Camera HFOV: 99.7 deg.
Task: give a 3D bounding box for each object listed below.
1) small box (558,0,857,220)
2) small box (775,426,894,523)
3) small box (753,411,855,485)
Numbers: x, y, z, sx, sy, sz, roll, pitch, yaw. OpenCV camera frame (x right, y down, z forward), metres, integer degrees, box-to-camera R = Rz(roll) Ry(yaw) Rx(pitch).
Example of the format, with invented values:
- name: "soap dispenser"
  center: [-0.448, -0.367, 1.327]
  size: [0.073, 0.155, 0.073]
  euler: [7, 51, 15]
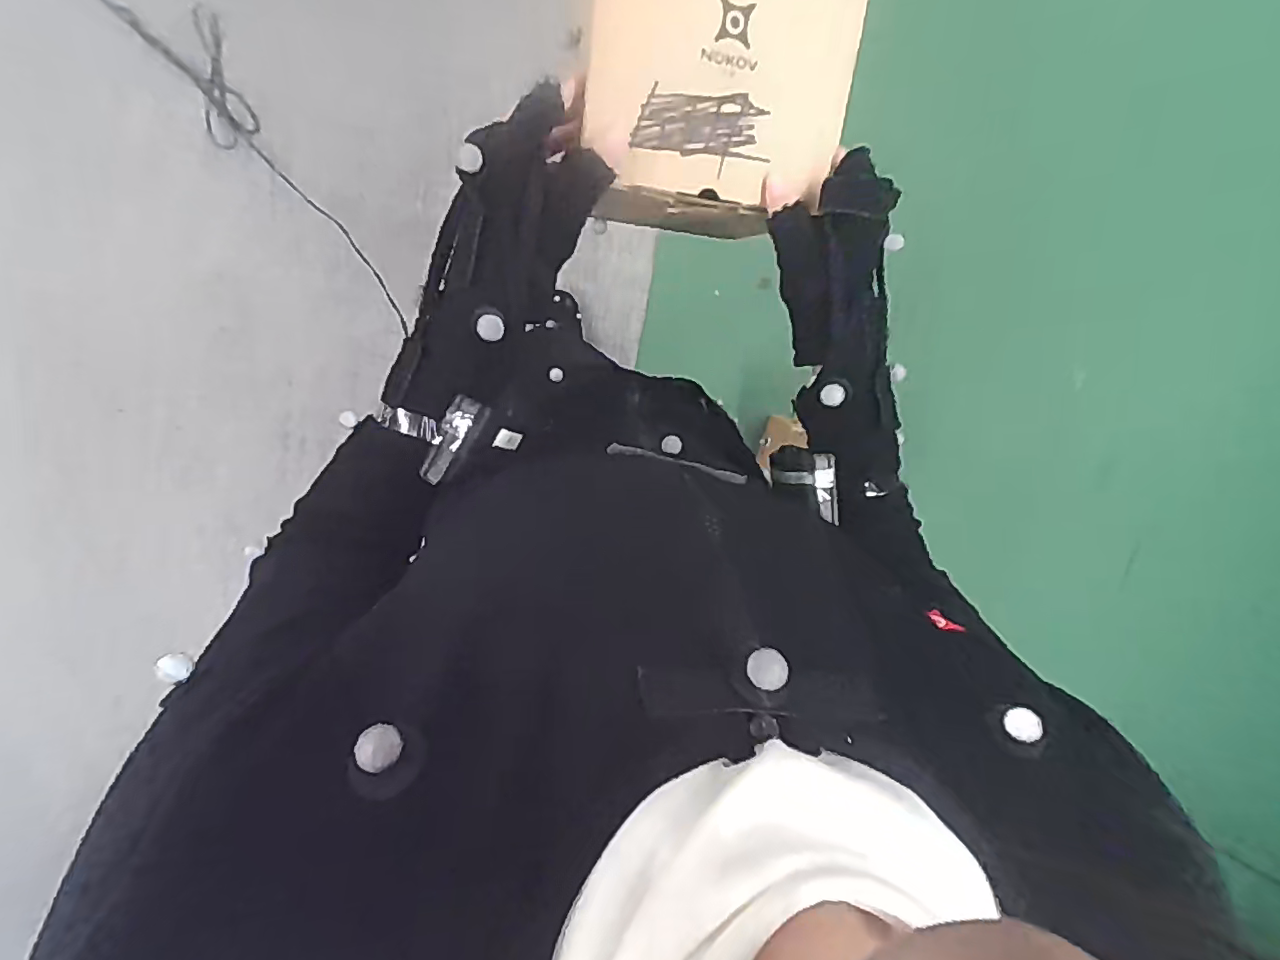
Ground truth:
- name: "small box"
  center: [0.032, -0.296, 0.387]
  size: [0.168, 0.176, 0.179]
  euler: [2, 109, -13]
- name: "small box"
  center: [0.445, -0.018, 1.261]
  size: [0.179, 0.176, 0.168]
  euler: [10, 107, -12]
- name: "small box"
  center: [0.420, -0.075, 1.413]
  size: [0.179, 0.176, 0.168]
  euler: [10, 106, -9]
